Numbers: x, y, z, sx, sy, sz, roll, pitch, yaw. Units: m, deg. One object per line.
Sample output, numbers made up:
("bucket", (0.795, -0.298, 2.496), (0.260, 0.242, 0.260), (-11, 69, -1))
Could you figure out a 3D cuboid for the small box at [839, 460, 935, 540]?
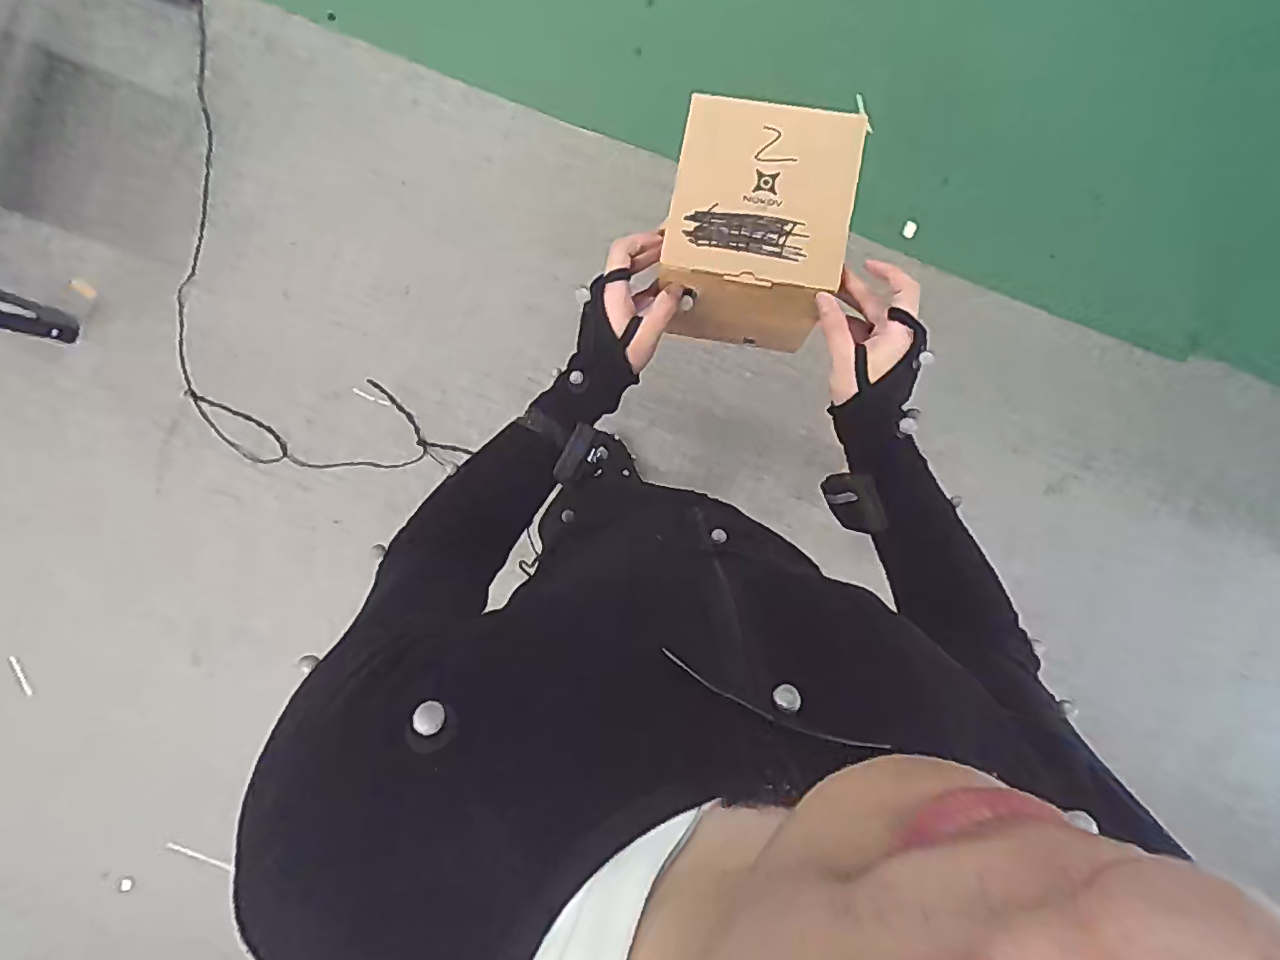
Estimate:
("small box", (0.692, 0.053, 1.537), (0.168, 0.176, 0.179), (21, 91, 1))
